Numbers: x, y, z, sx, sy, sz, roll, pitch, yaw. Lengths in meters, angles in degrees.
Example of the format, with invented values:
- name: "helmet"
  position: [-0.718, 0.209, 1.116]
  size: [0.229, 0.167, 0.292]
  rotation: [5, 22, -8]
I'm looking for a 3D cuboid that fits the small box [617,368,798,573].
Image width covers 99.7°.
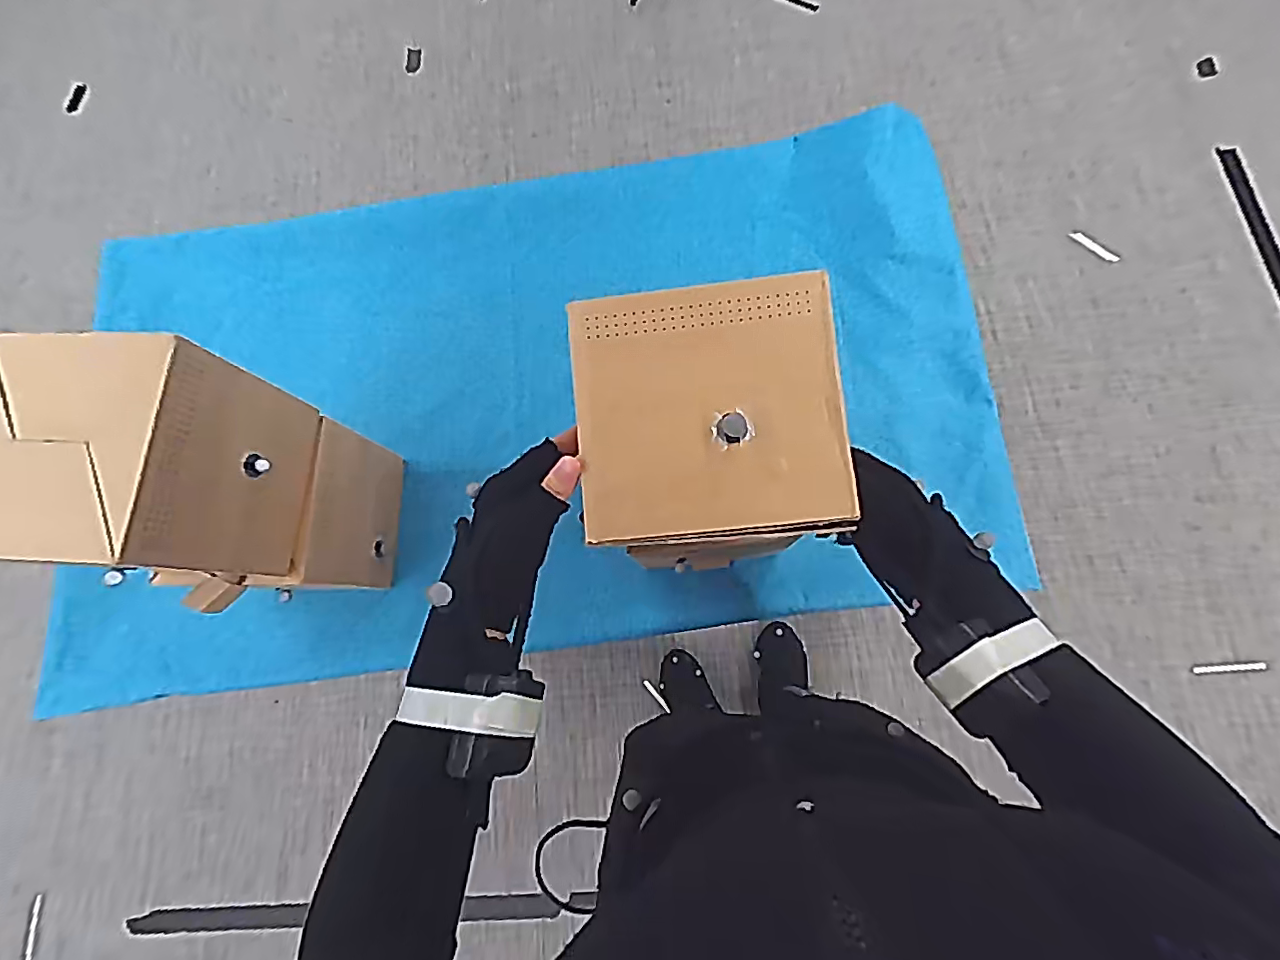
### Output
- name: "small box"
  position: [0.071, 0.000, 0.602]
  size: [0.168, 0.176, 0.179]
  rotation: [-7, 75, 4]

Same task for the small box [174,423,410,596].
- name: "small box"
  position: [-0.396, 0.042, 0.637]
  size: [0.168, 0.176, 0.179]
  rotation: [-2, 76, 5]

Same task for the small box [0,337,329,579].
- name: "small box"
  position: [-0.420, -0.007, 0.481]
  size: [0.168, 0.176, 0.179]
  rotation: [2, 78, 6]
